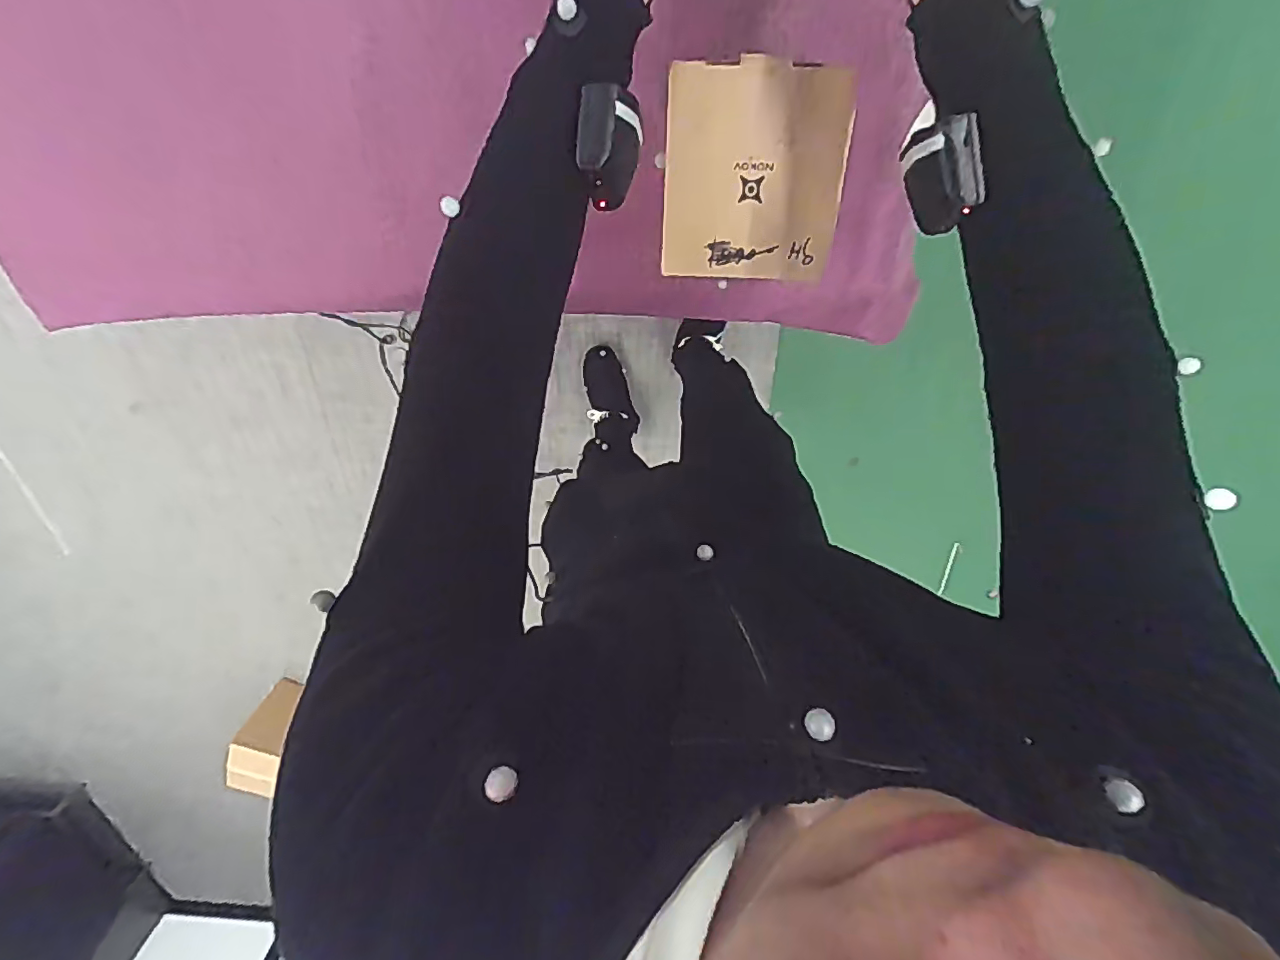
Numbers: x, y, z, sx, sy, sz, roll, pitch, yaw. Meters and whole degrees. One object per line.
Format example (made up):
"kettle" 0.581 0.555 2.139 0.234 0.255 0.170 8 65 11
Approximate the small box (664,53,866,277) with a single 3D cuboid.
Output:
"small box" 0.113 -0.317 0.567 0.168 0.176 0.179 4 117 3

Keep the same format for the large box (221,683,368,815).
"large box" -1.419 1.105 2.236 0.408 0.320 0.320 22 119 -10
